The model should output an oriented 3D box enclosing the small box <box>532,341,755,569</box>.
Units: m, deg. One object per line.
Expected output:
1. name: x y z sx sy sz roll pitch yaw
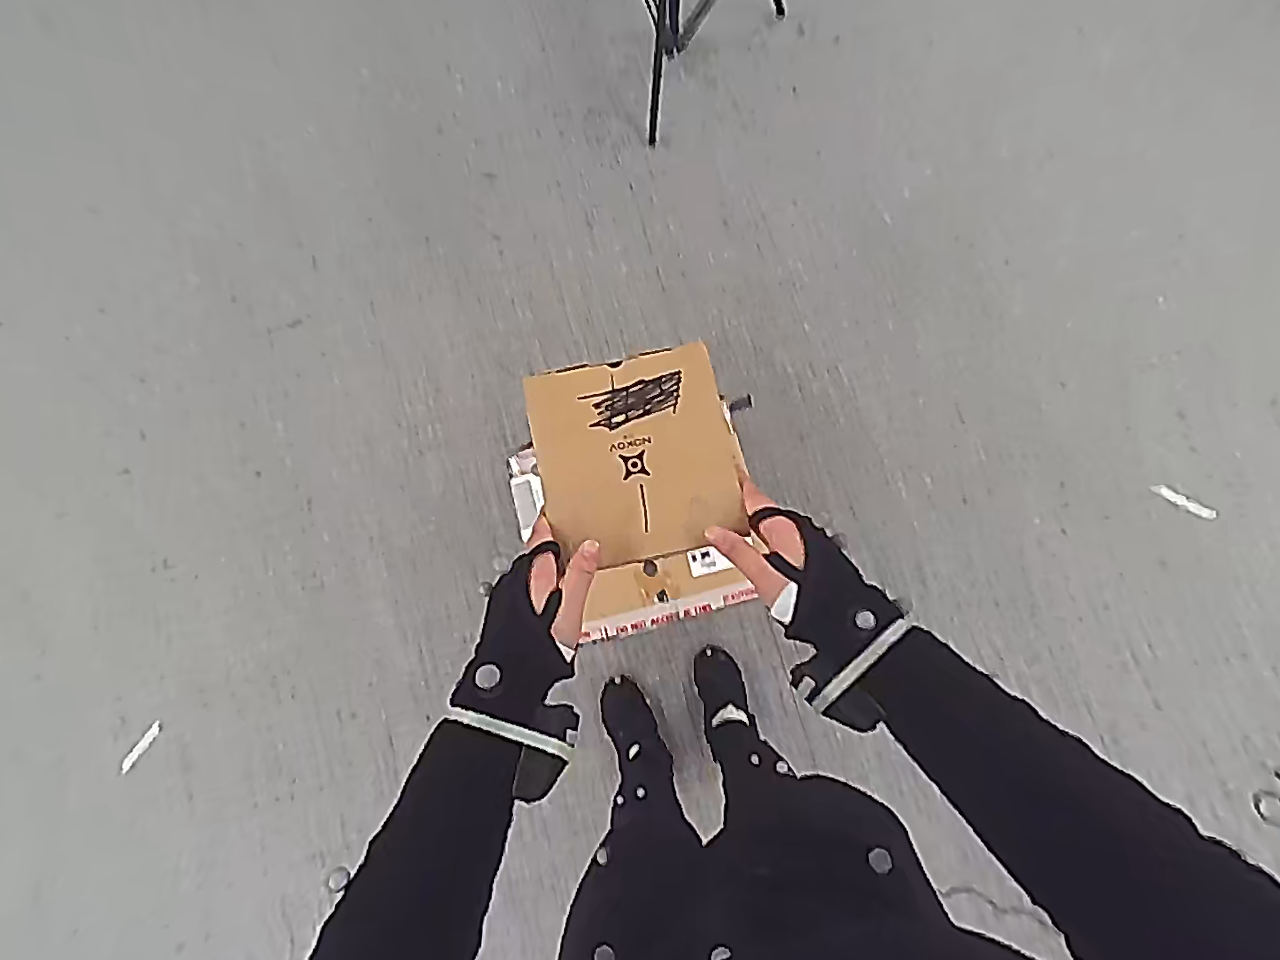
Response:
1. small box: 0.002 -0.011 0.534 0.168 0.176 0.179 -11 81 0
